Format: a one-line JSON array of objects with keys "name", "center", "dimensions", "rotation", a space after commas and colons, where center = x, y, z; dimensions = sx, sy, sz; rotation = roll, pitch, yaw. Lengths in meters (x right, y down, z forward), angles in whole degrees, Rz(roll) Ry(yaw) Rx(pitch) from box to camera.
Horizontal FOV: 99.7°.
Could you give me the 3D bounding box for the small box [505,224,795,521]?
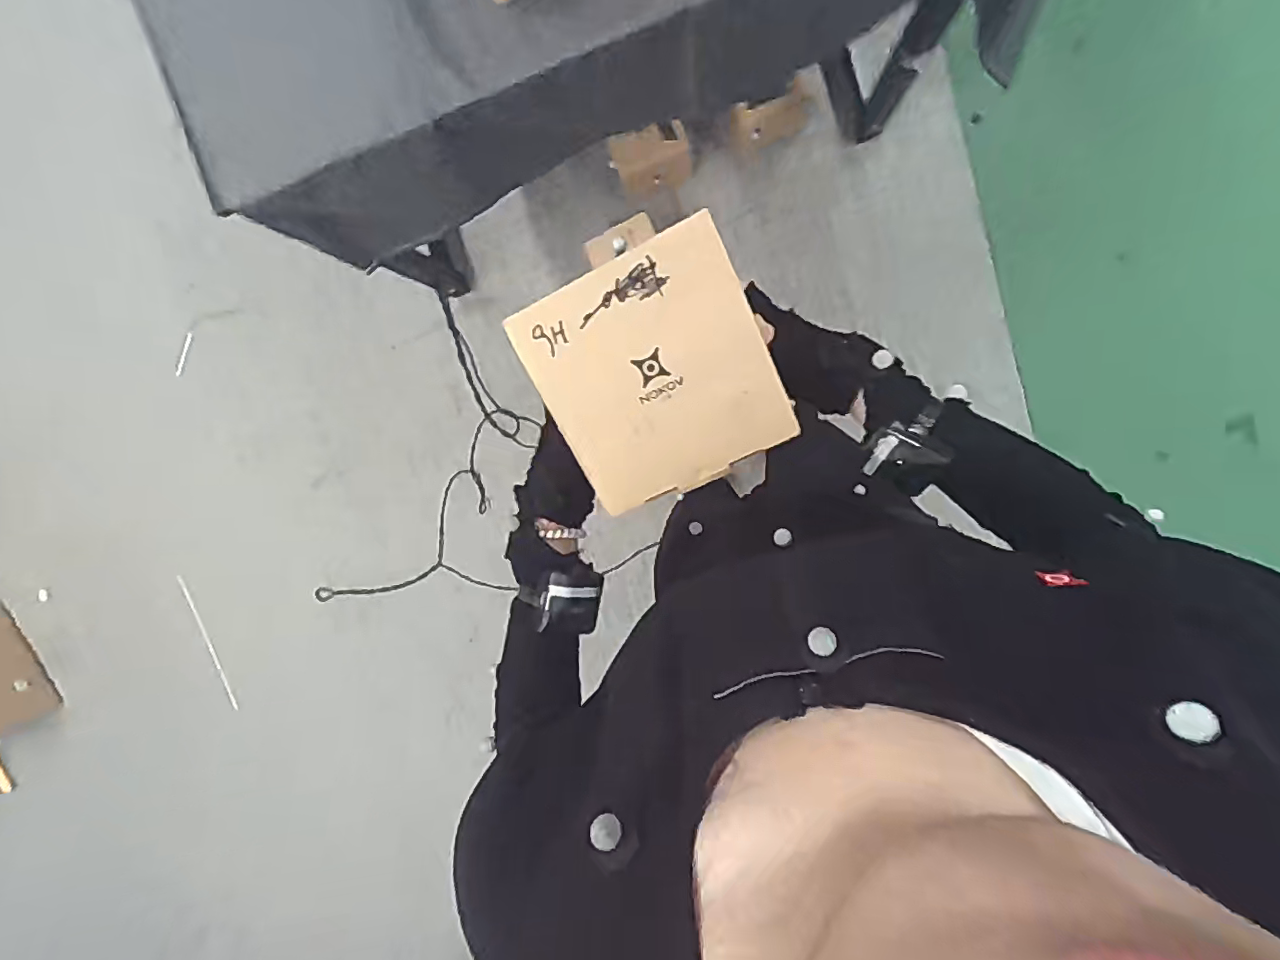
[{"name": "small box", "center": [0.013, -0.098, 0.474], "dimensions": [0.168, 0.176, 0.179], "rotation": [-24, 109, 9]}]
